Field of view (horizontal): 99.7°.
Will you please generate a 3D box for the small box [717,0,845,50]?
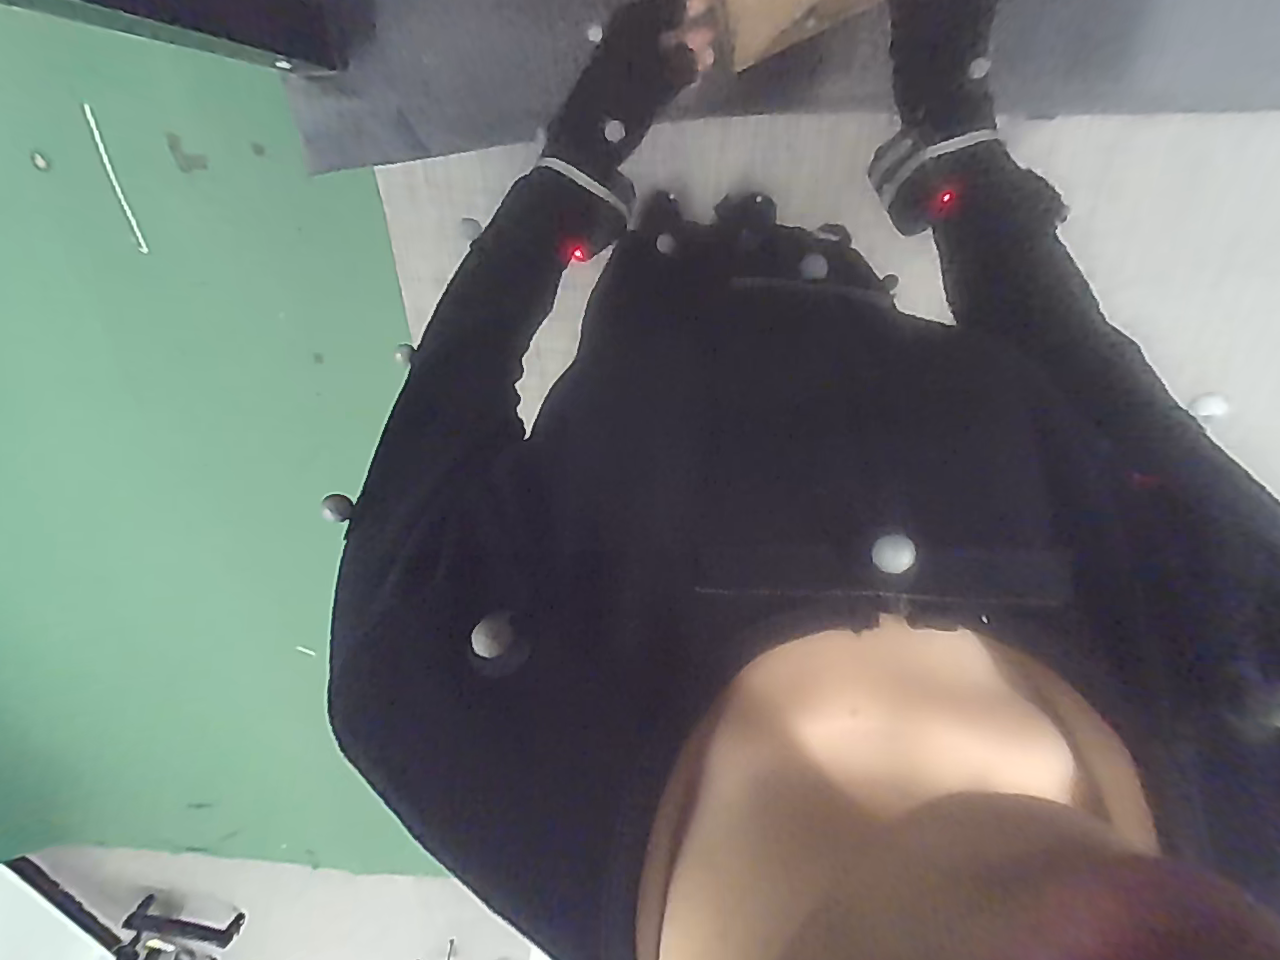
[{"bbox_3d":[0.121,-0.472,0.396,0.168,0.176,0.179,-19,110,15],"label":"small box"}]
